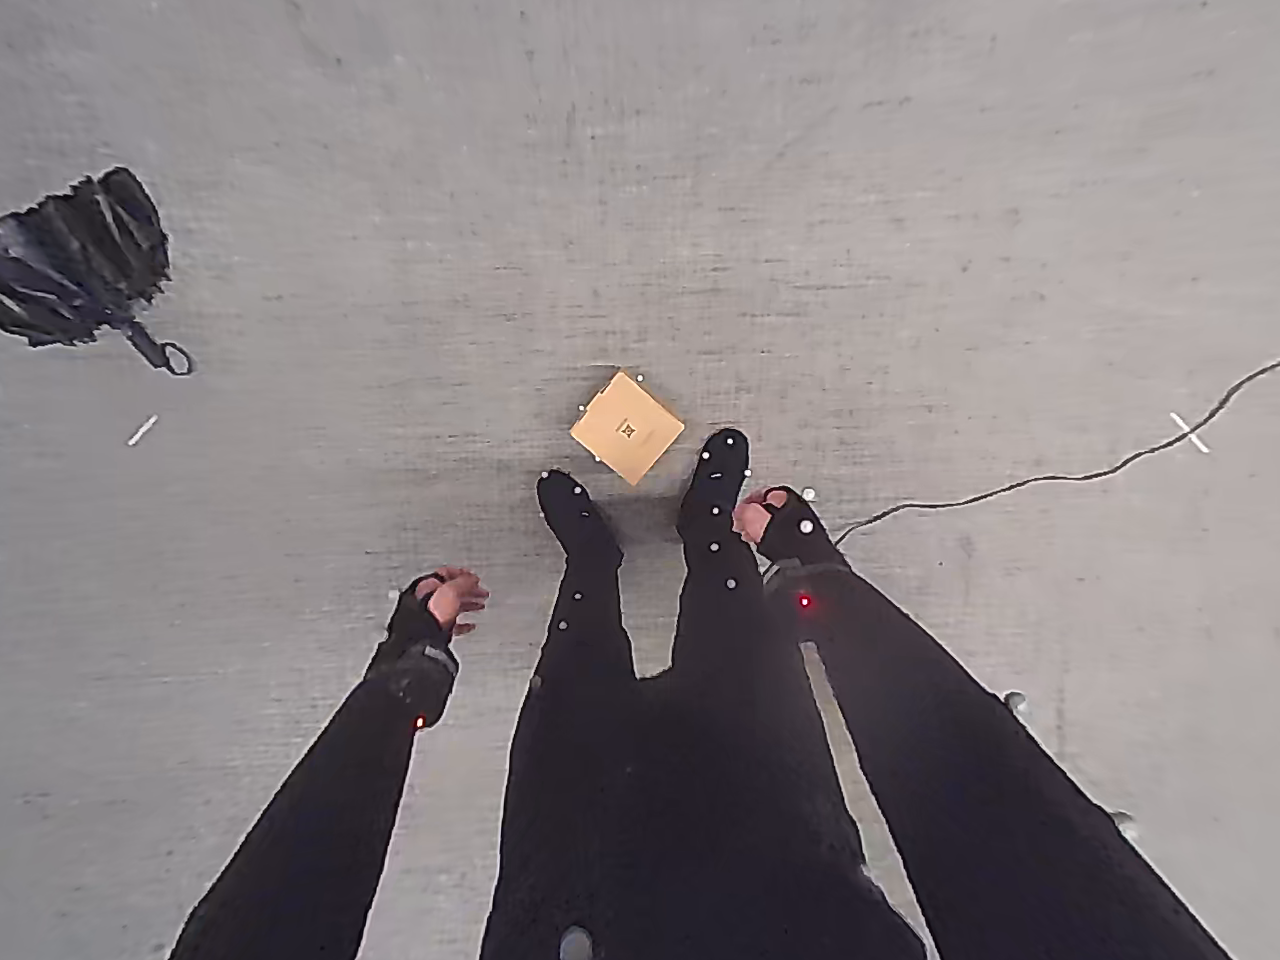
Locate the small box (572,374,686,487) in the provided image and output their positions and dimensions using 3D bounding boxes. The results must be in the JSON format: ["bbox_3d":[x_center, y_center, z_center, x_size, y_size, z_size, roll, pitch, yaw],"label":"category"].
[{"bbox_3d":[-0.025,-0.115,1.172,0.179,0.176,0.168,38,102,-10],"label":"small box"}]
